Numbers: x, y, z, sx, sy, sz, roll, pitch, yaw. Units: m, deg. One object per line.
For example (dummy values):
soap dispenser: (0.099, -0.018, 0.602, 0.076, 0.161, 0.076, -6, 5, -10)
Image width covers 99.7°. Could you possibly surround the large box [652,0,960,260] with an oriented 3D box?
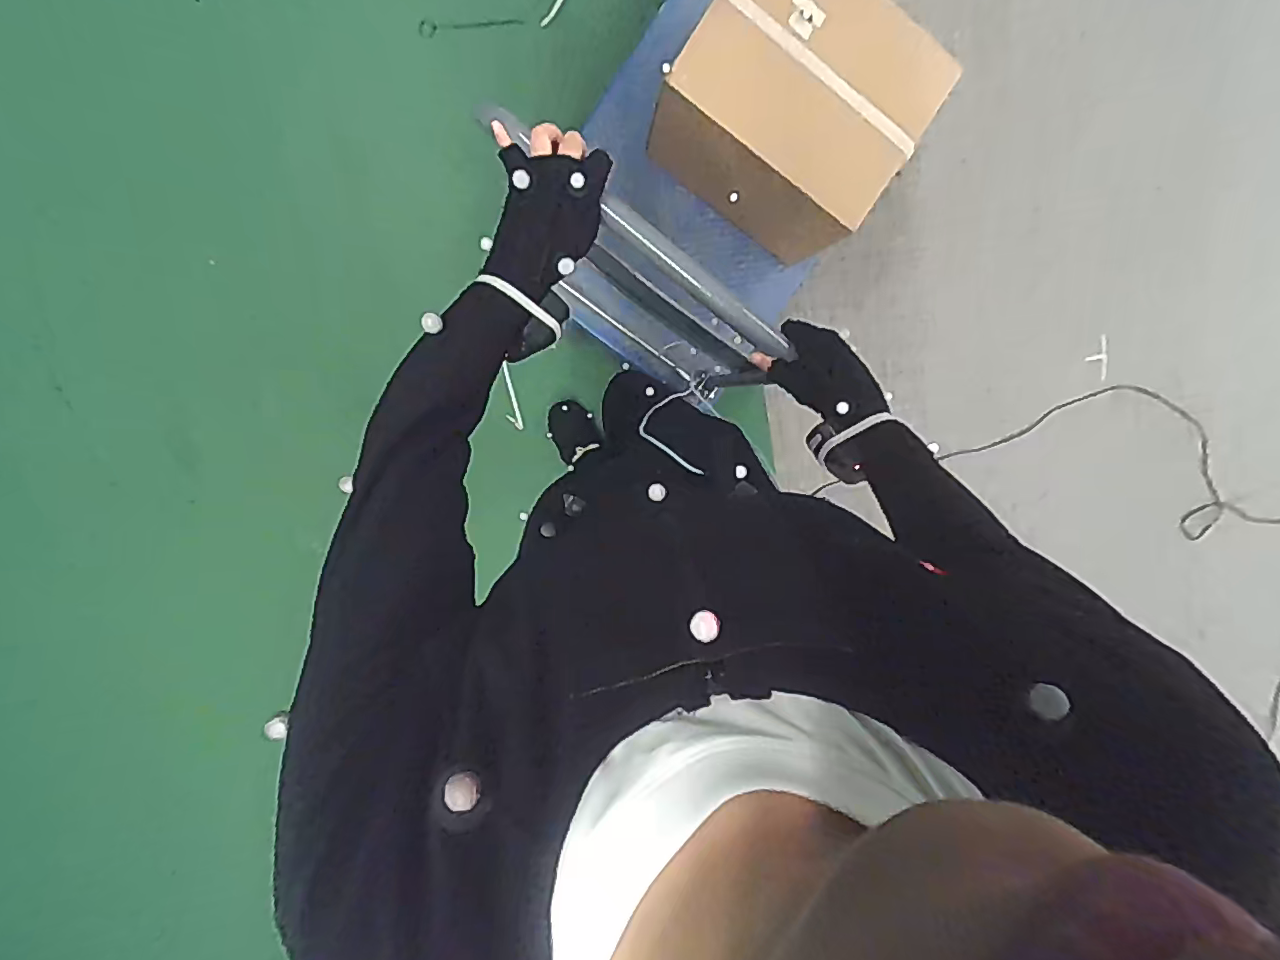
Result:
large box: (0.279, -0.689, 1.031, 0.408, 0.320, 0.320, 32, 96, -9)
